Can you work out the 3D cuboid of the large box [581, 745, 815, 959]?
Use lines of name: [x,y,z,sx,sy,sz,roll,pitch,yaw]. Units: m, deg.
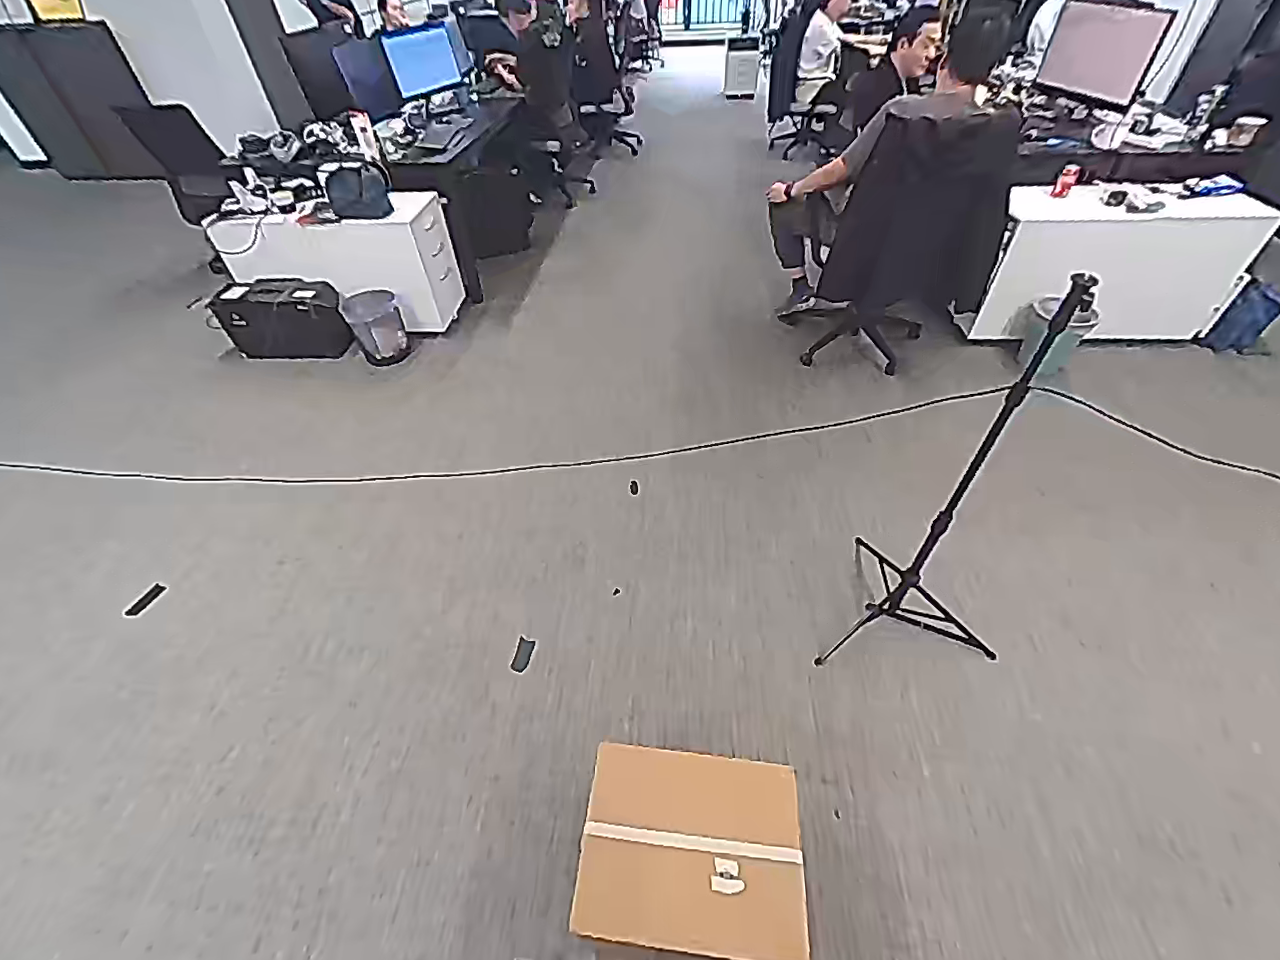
large box: [0.112,0.781,1.114,0.408,0.320,0.320,4,46,6]
